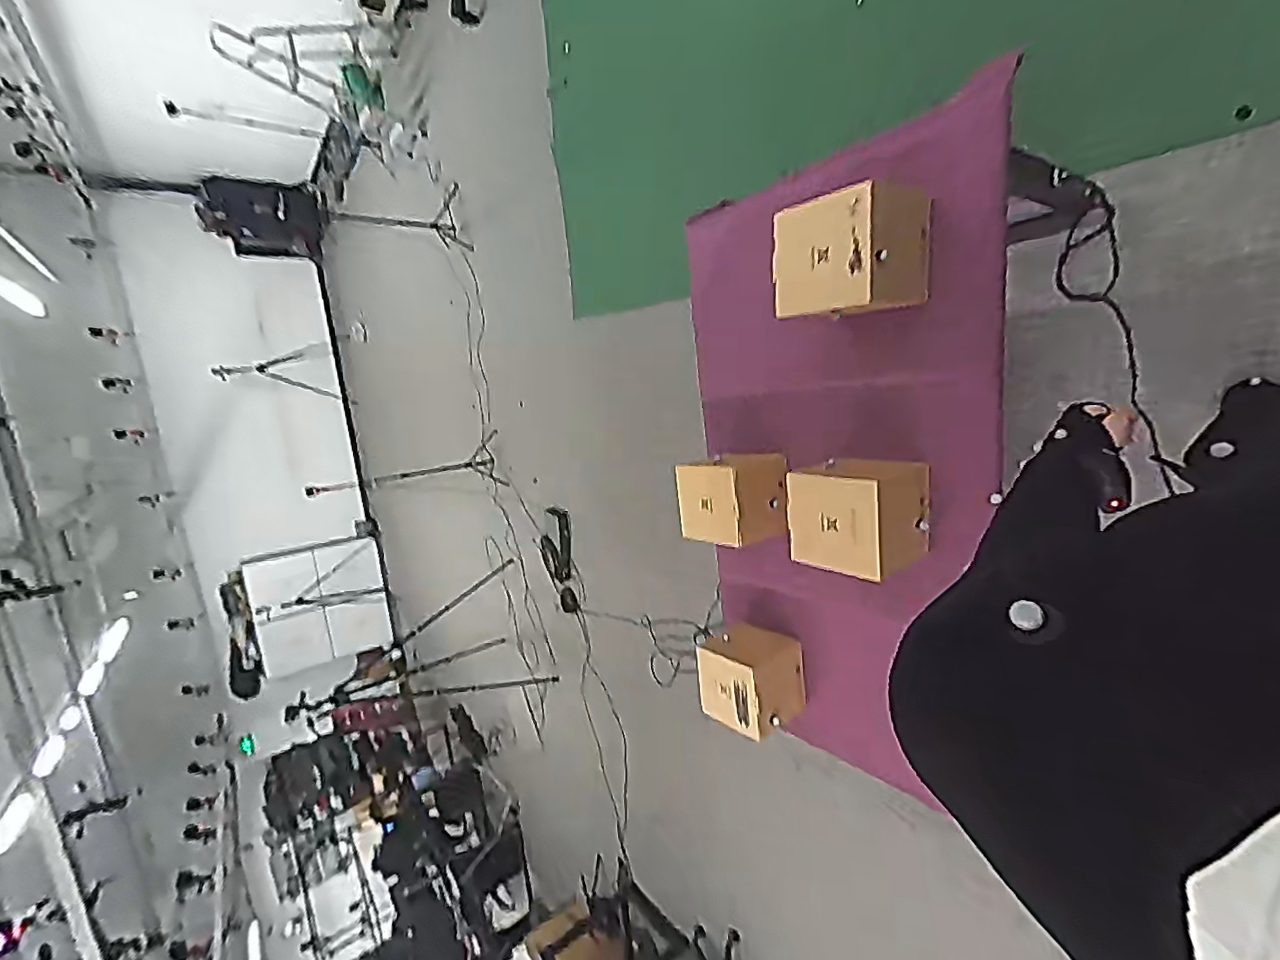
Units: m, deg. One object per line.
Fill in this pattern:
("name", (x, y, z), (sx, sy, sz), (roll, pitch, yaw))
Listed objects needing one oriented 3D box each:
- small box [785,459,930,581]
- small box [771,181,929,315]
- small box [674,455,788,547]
("small box", (0.381, 0.059, 0.952), (0.179, 0.176, 0.168), (8, 108, 52))
("small box", (0.335, -0.361, 0.874), (0.179, 0.176, 0.168), (12, 112, 54))
("small box", (0.199, 0.038, 1.186), (0.179, 0.176, 0.168), (3, 103, 51))
